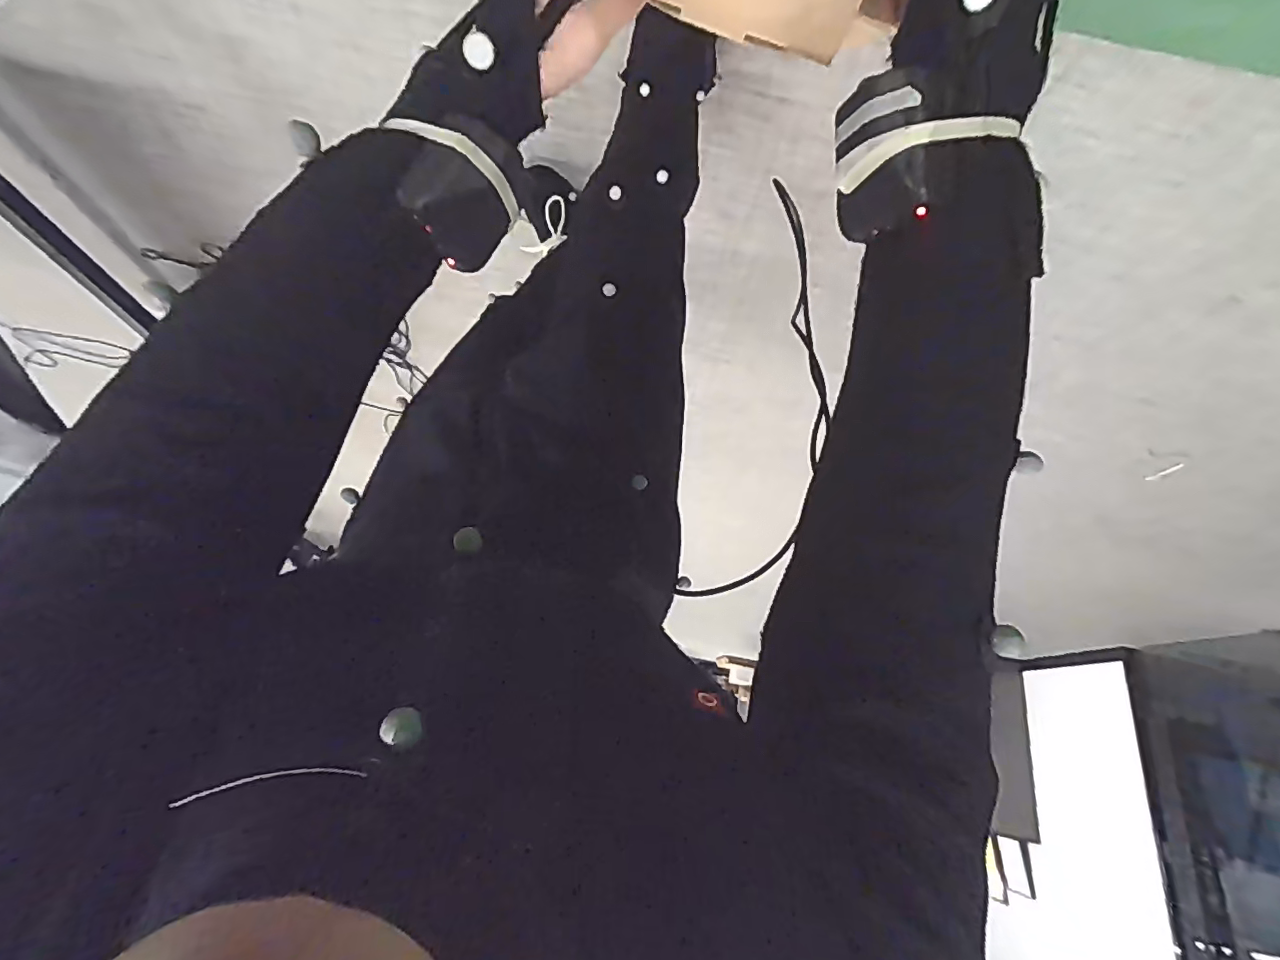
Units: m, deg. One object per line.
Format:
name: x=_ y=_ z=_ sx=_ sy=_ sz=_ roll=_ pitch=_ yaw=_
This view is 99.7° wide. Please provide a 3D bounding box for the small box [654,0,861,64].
small box: x=0.080 y=-0.393 z=0.297 sx=0.168 sy=0.176 sz=0.179 roll=15 pitch=155 yaw=-6
